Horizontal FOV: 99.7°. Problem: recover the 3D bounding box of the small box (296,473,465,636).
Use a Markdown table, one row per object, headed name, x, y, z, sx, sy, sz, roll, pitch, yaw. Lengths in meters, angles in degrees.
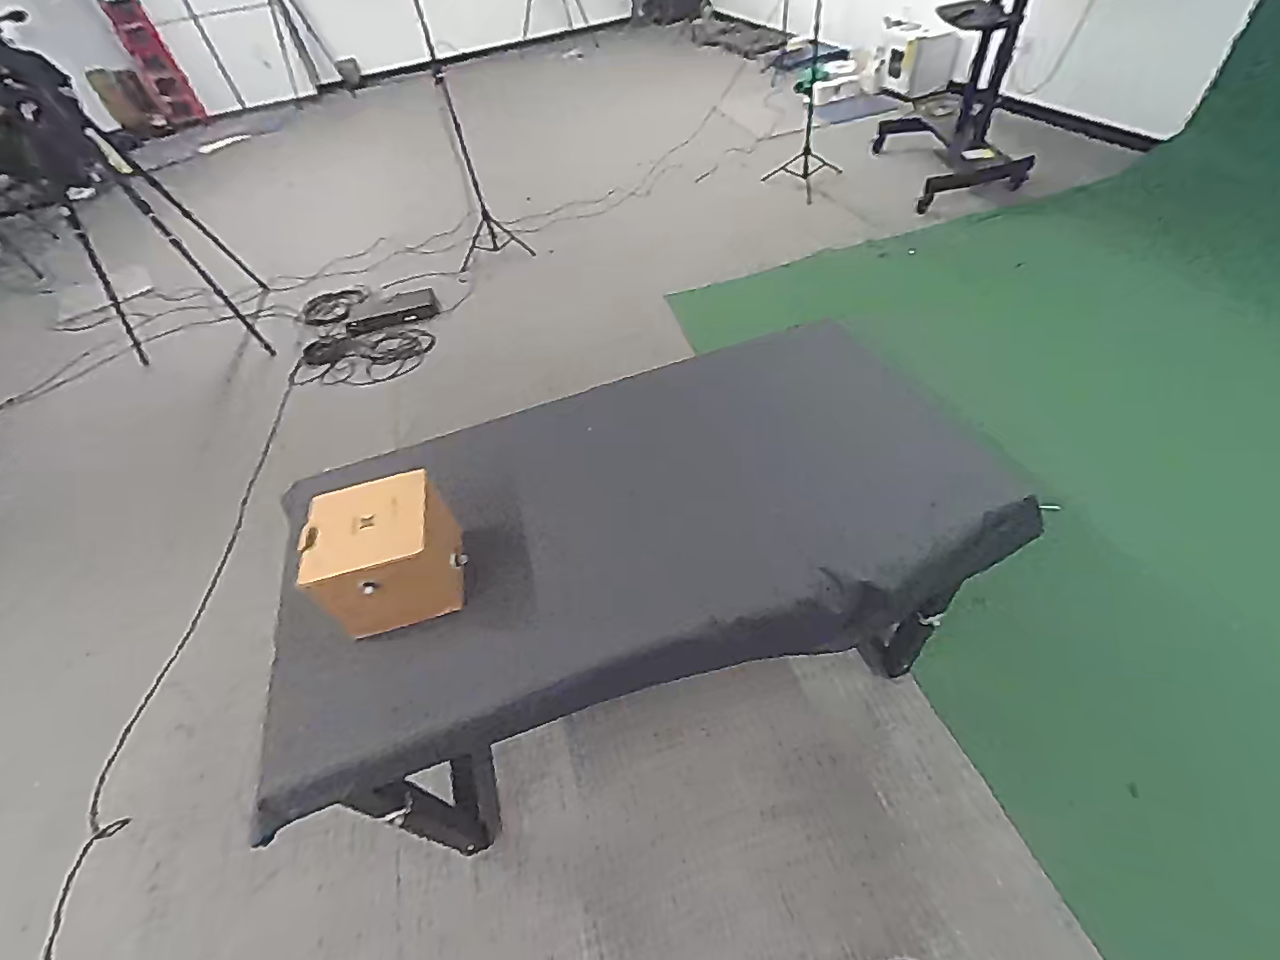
| name | x | y | z | sx | sy | sz | roll | pitch | yaw |
| --- | --- | --- | --- | --- | --- | --- | --- | --- | --- |
| small box | -0.390 | 0.120 | 0.843 | 0.179 | 0.176 | 0.168 | -14 | 49 | -6 |
